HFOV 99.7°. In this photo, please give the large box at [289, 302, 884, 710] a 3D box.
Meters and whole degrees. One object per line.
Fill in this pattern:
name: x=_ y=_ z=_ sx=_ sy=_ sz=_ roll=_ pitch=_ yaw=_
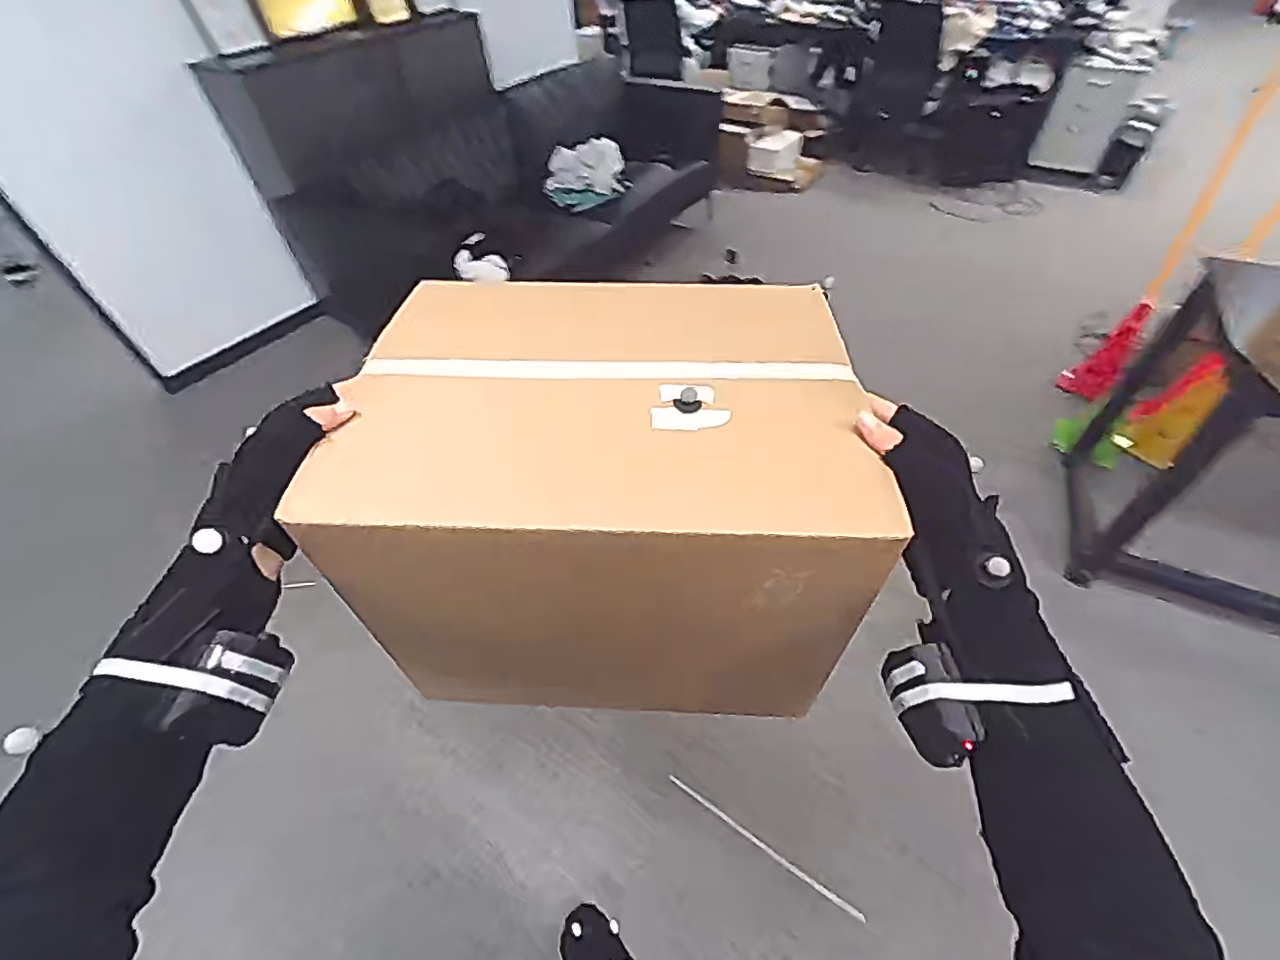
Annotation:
large box: x=-0.035 y=0.029 z=0.564 sx=0.408 sy=0.320 sz=0.320 roll=1 pitch=47 yaw=1
